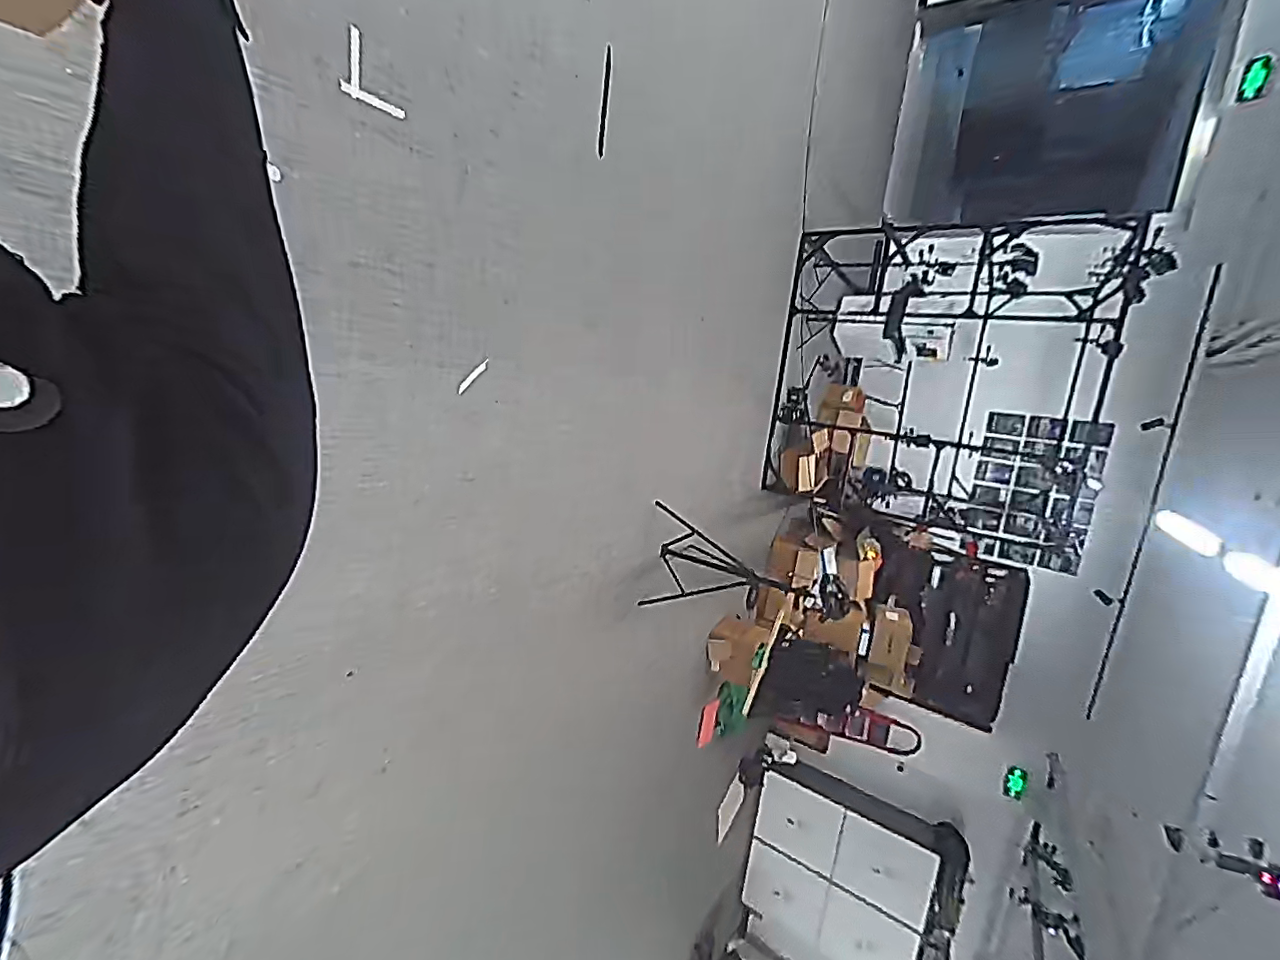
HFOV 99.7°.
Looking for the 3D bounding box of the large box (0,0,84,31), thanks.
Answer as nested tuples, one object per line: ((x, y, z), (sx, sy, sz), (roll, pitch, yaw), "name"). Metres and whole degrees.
((-0.585, -0.545, 0.286), (0.408, 0.320, 0.320), (-8, 114, -54), "large box")
